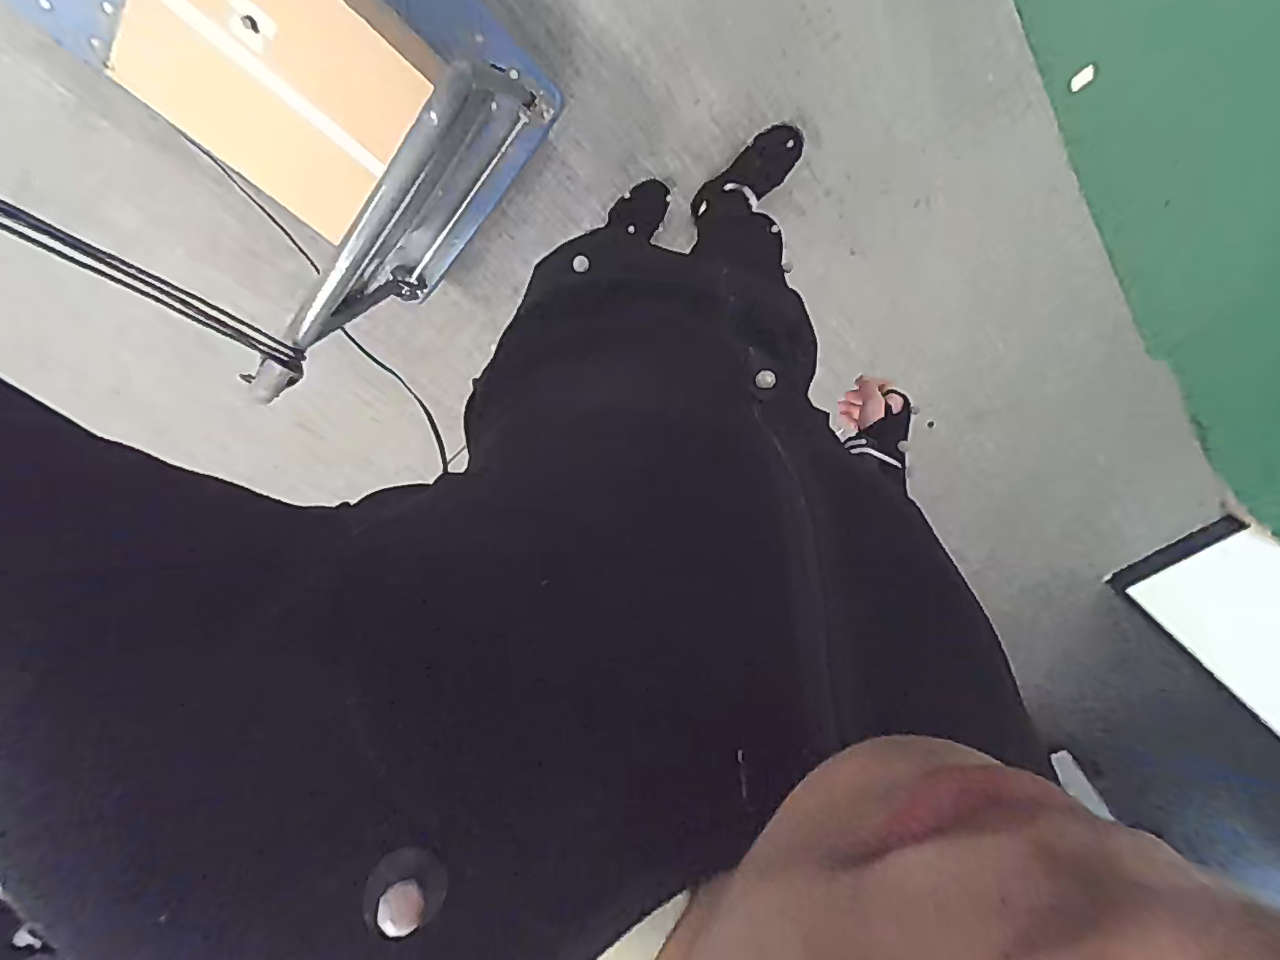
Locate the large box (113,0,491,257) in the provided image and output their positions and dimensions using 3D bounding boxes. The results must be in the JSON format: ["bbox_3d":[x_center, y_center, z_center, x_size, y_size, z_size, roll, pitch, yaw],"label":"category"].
[{"bbox_3d":[-0.532,-0.671,0.933,0.408,0.320,0.320,37,115,-24],"label":"large box"}]
